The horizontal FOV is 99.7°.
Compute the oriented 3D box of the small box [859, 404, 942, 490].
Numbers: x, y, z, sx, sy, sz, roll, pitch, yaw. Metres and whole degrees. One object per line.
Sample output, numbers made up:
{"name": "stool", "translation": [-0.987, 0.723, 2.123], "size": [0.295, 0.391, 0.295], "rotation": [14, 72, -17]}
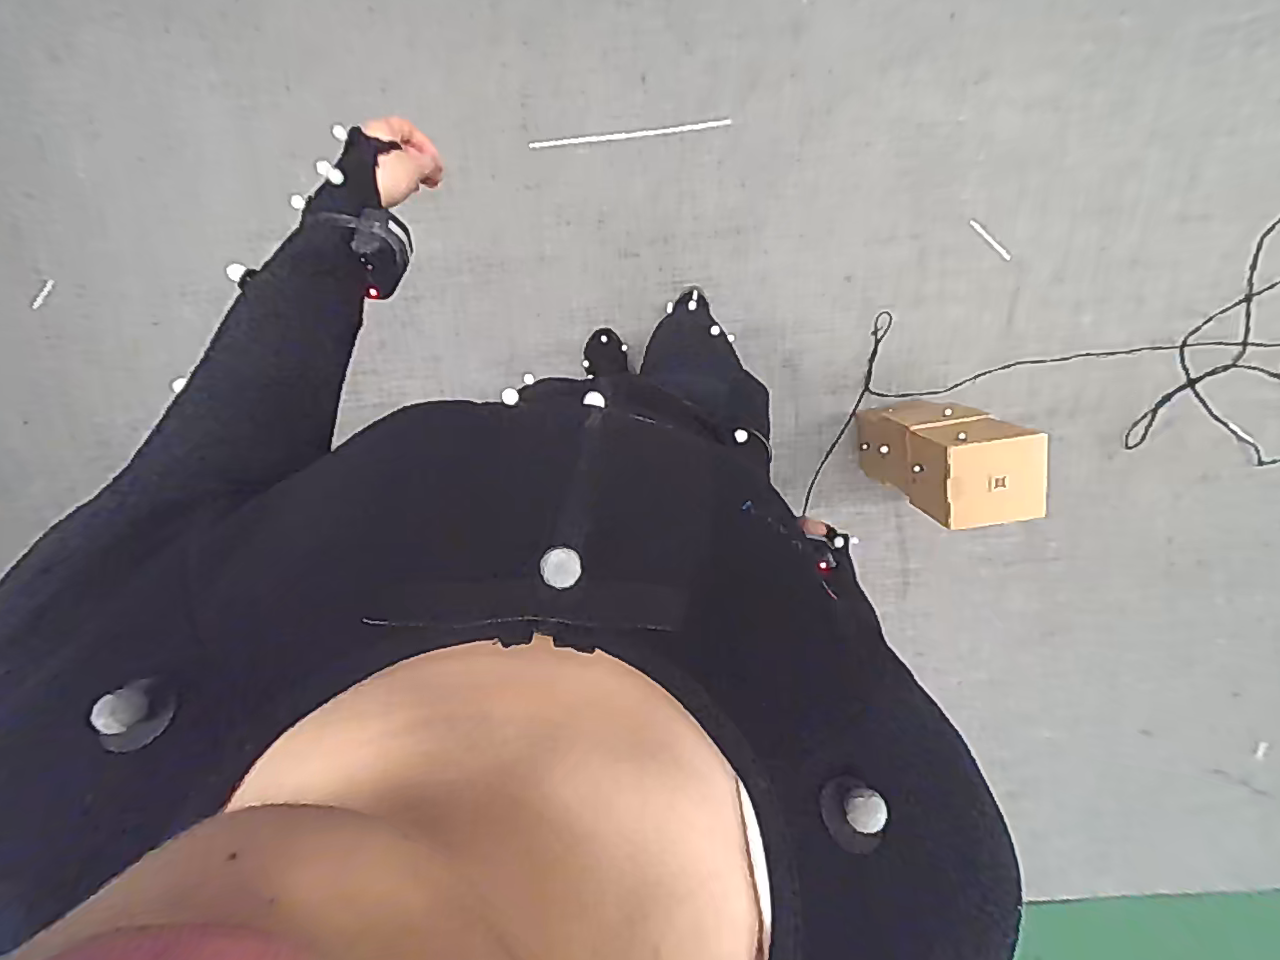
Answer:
{"name": "small box", "translation": [0.671, -0.089, 1.370], "size": [0.179, 0.176, 0.168], "rotation": [-12, 105, 5]}

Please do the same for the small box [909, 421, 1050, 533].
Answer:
{"name": "small box", "translation": [0.651, -0.012, 1.053], "size": [0.179, 0.176, 0.168], "rotation": [-9, 105, 5]}

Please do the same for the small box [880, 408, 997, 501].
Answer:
{"name": "small box", "translation": [0.659, -0.062, 1.208], "size": [0.179, 0.176, 0.168], "rotation": [-8, 105, 5]}
